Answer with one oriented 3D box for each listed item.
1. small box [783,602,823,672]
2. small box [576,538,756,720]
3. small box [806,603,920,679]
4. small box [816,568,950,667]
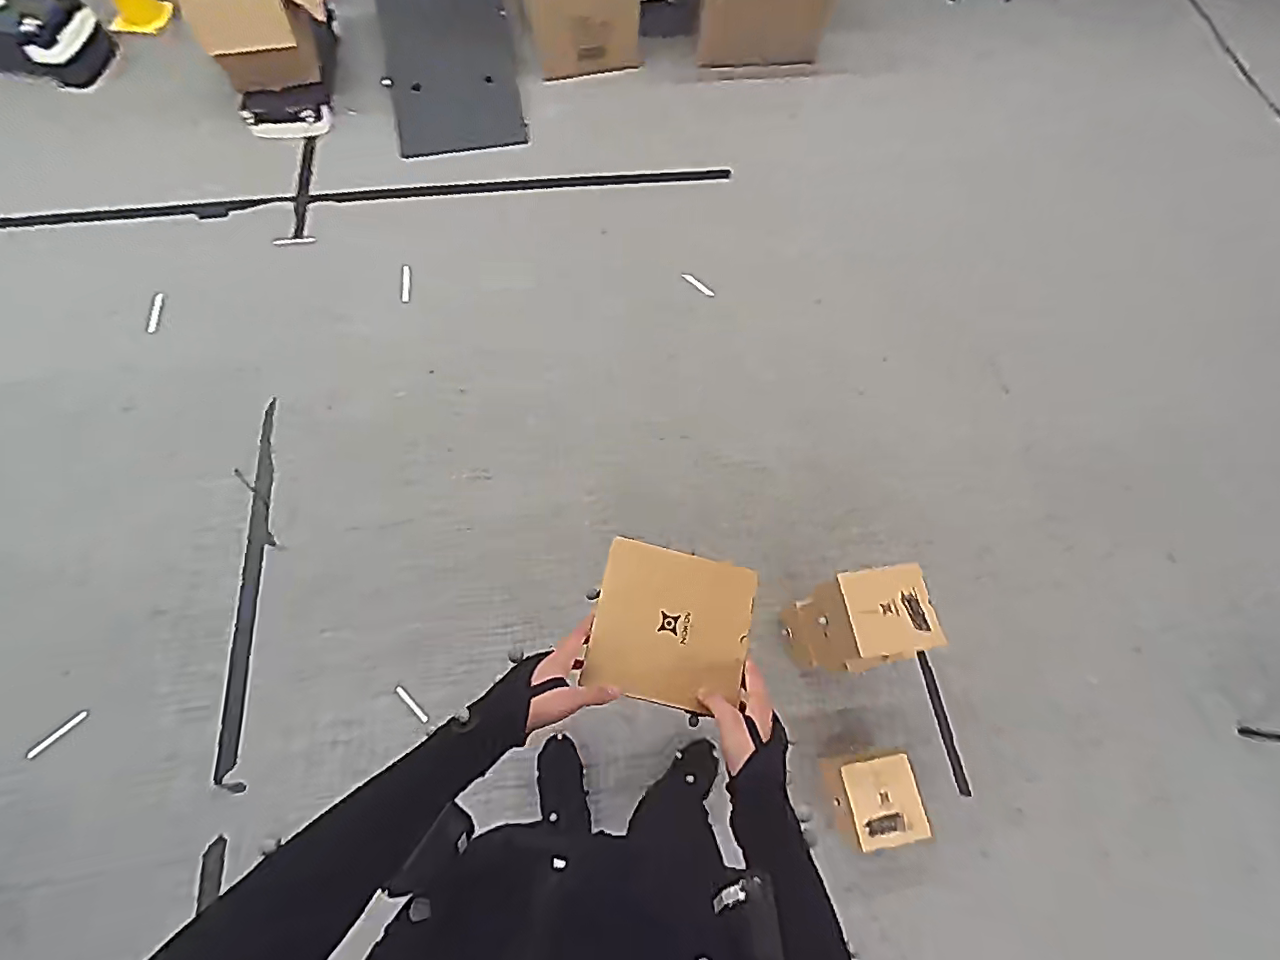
[{"bbox_3d":[0.500,0.406,1.428,0.179,0.176,0.168,-10,69,-5],"label":"small box"},{"bbox_3d":[0.023,0.186,0.664,0.179,0.176,0.168,14,69,-3],"label":"small box"},{"bbox_3d":[0.511,0.360,1.271,0.168,0.176,0.179,-10,69,-6],"label":"small box"},{"bbox_3d":[0.491,0.289,1.122,0.179,0.176,0.168,-7,68,-4],"label":"small box"}]
